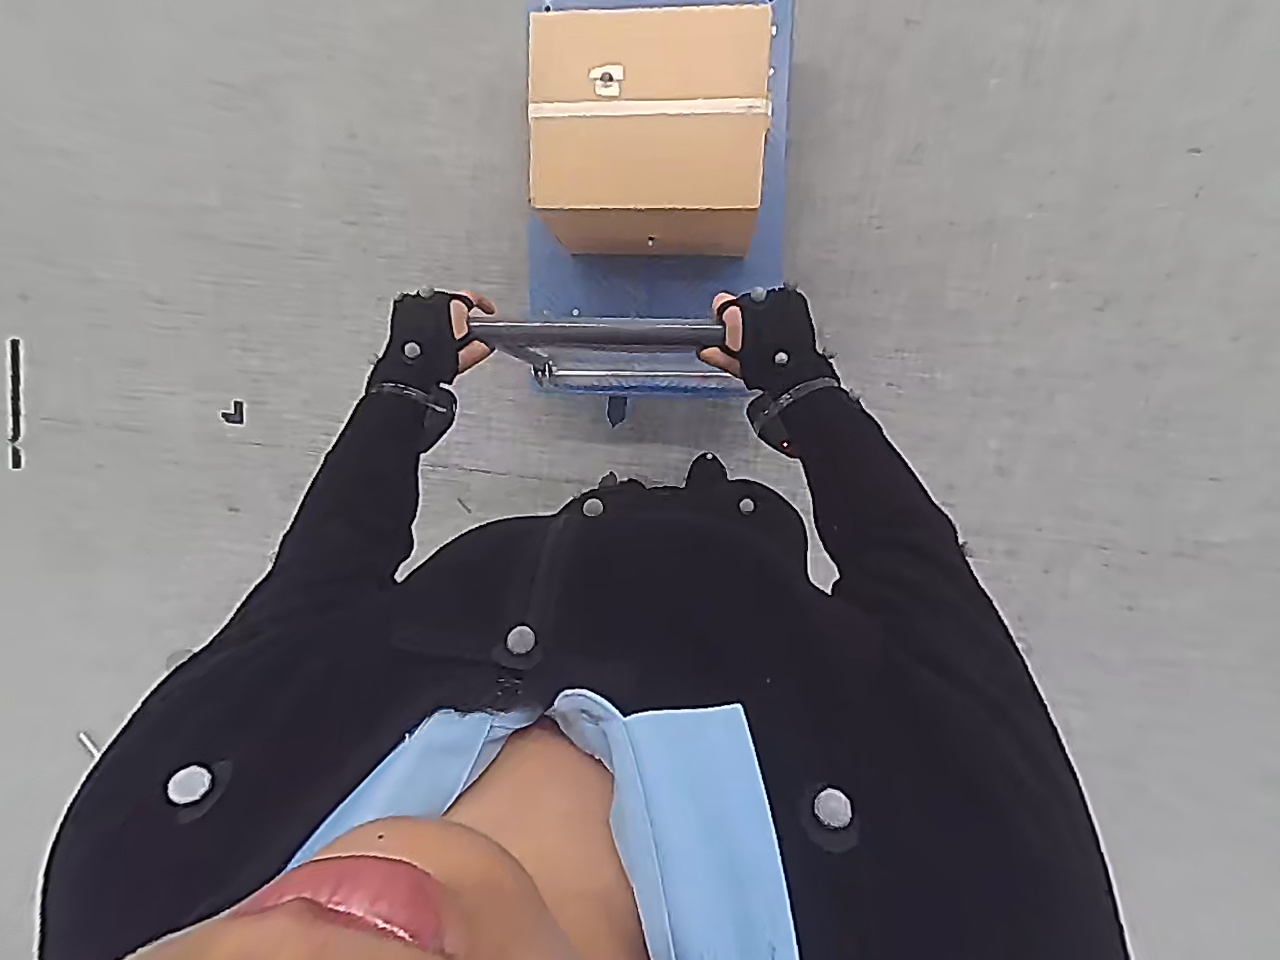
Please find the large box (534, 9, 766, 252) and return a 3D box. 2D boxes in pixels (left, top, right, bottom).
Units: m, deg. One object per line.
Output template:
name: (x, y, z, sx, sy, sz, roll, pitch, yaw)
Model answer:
large box: (0.029, -0.654, 1.081, 0.408, 0.320, 0.320, 3, 98, 7)
